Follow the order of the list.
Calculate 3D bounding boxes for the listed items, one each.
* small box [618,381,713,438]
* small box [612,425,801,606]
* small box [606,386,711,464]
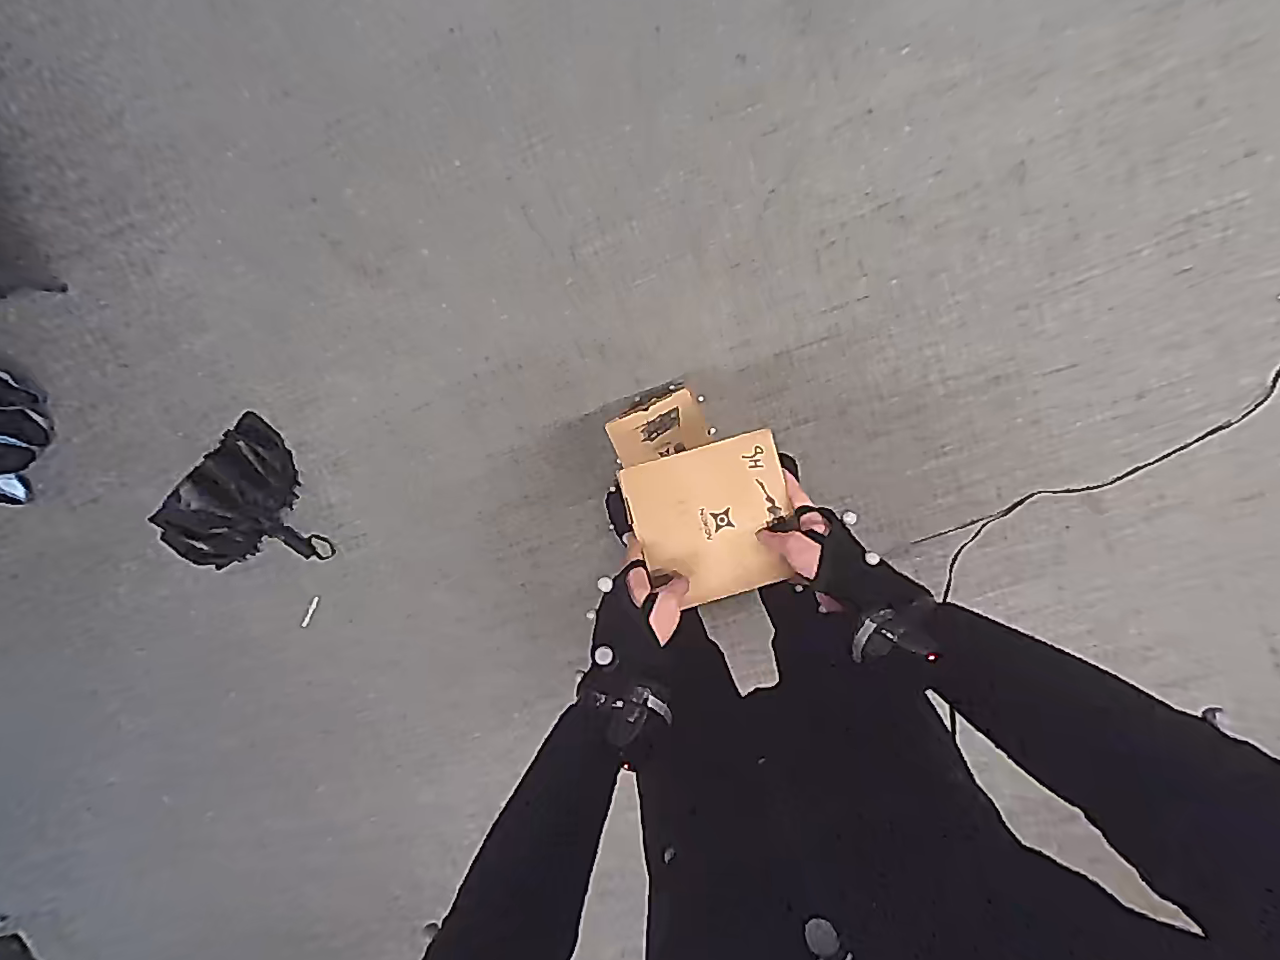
[{"bbox_3d":[0.066,-0.112,1.215,0.168,0.176,0.179,-24,100,10],"label":"small box"},{"bbox_3d":[0.076,0.042,0.678,0.179,0.176,0.168,-17,89,0],"label":"small box"},{"bbox_3d":[0.051,-0.072,1.056,0.168,0.176,0.179,-24,99,11],"label":"small box"}]
